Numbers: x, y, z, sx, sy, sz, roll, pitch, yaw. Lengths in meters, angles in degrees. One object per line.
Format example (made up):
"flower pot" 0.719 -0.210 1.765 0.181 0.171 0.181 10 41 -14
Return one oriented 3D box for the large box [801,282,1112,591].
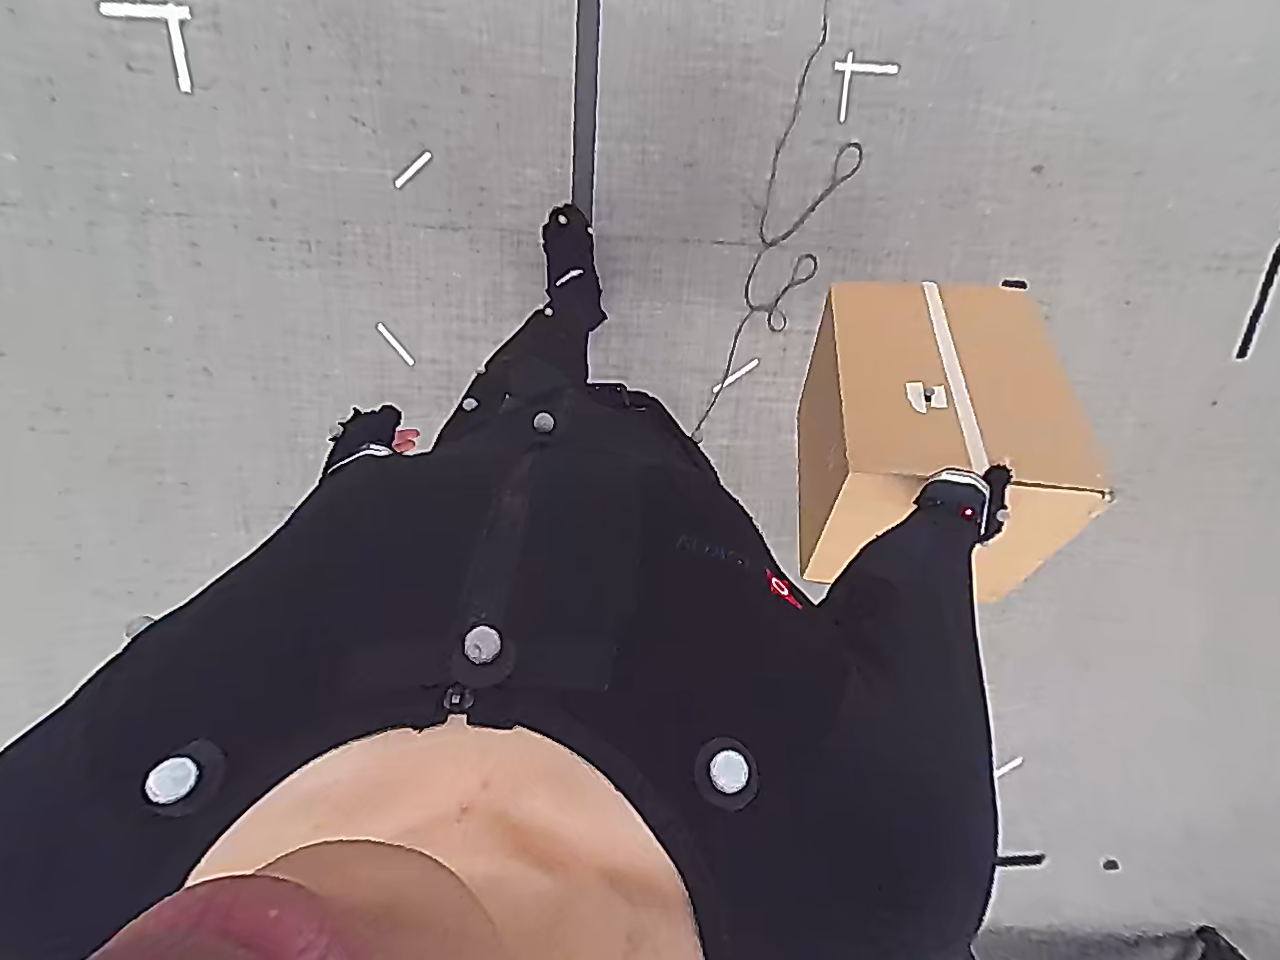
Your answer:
"large box" 0.461 -0.073 0.908 0.320 0.408 0.320 5 147 8
